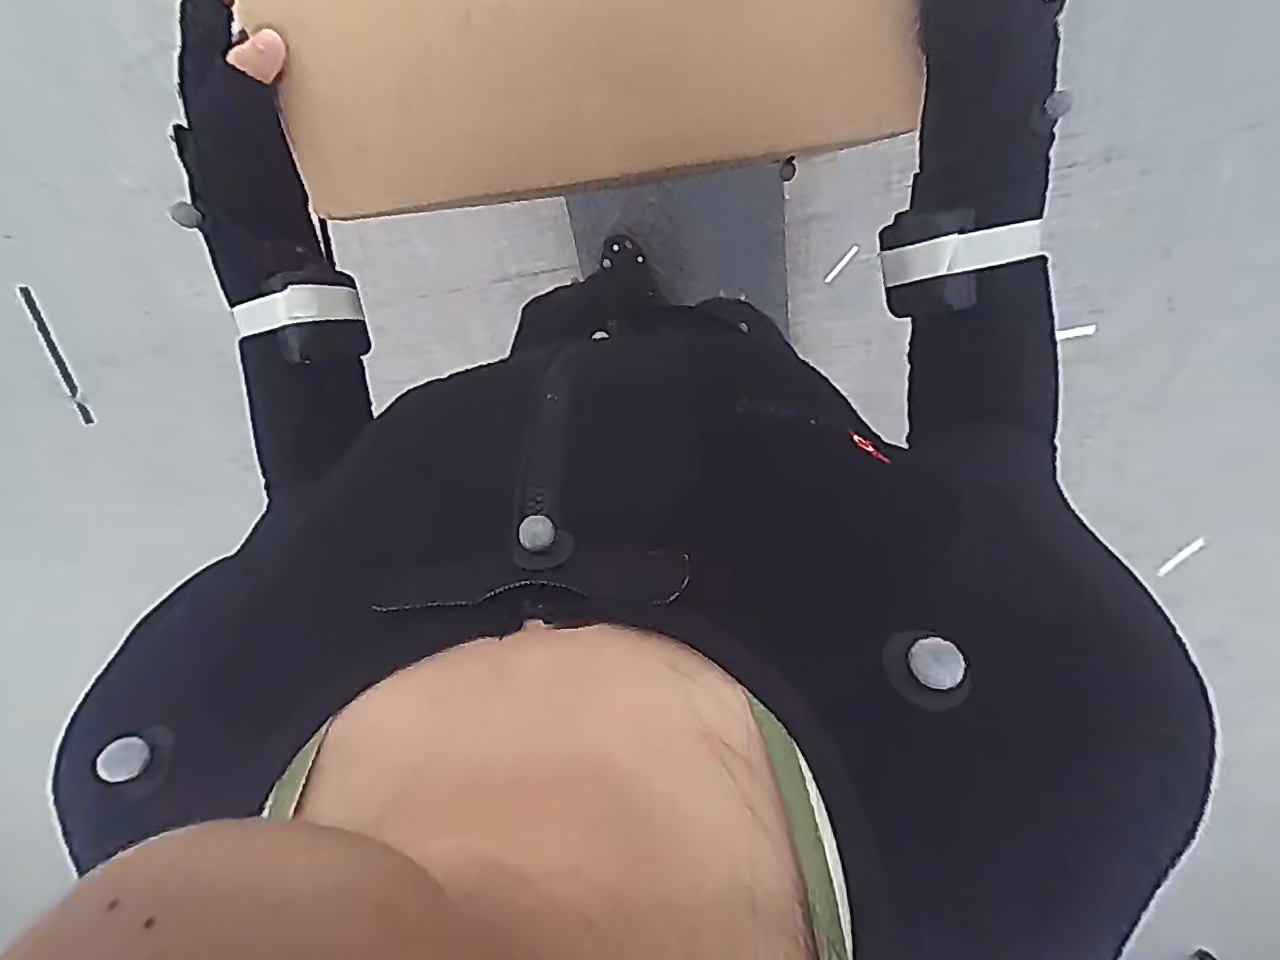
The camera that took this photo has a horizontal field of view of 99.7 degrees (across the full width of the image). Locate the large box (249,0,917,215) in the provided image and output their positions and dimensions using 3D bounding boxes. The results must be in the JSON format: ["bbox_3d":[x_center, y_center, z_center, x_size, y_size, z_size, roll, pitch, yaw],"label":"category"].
[{"bbox_3d":[-0.037,-0.413,0.423,0.408,0.320,0.320,-5,118,6],"label":"large box"}]
